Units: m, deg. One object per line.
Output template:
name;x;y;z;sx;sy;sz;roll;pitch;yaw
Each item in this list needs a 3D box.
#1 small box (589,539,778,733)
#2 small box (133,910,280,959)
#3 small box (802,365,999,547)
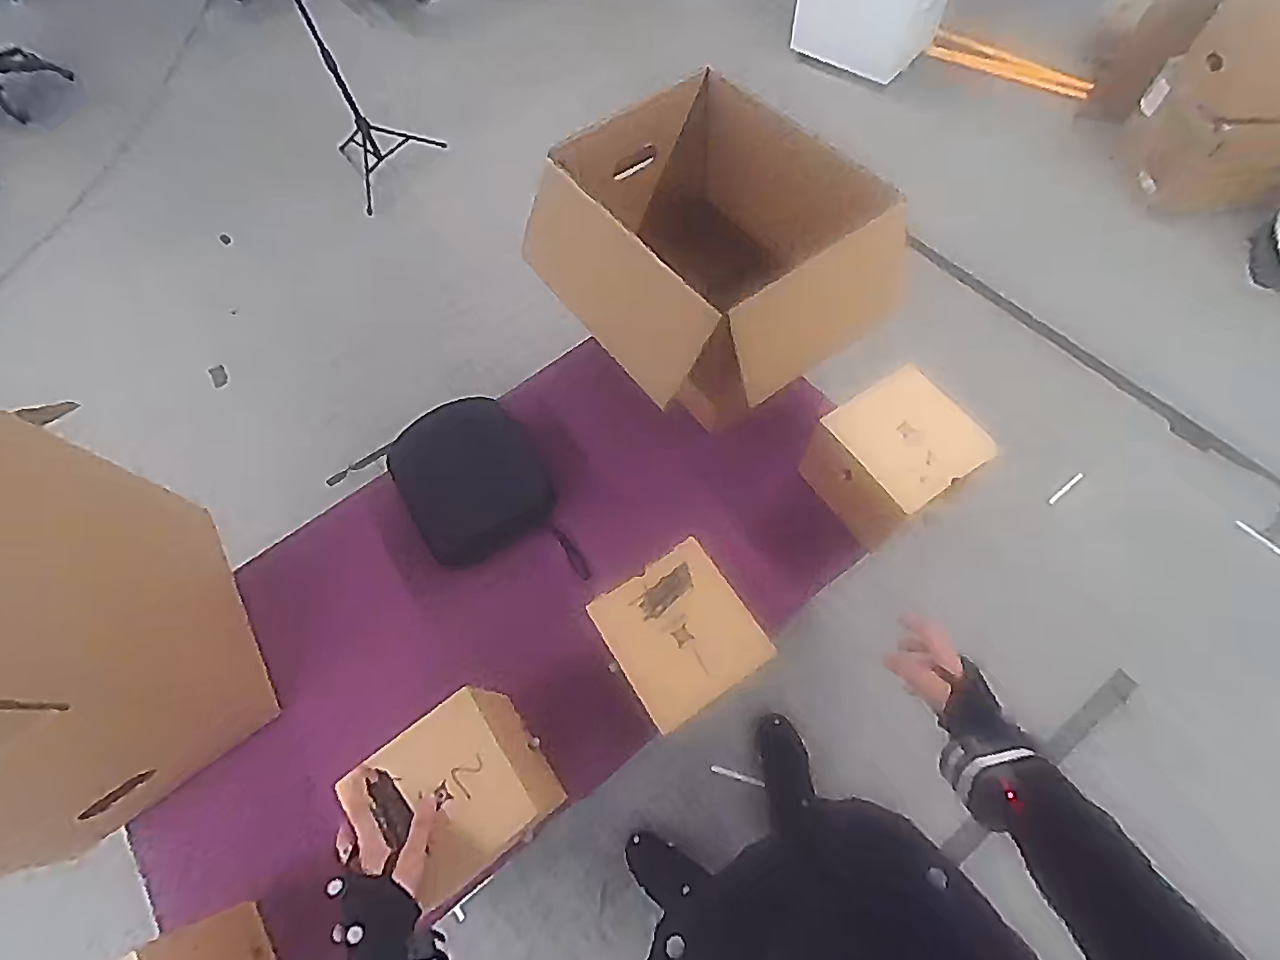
small box;0.054;0.212;0.719;0.168;0.176;0.179;-33;67;-9
small box;-0.518;0.625;0.582;0.179;0.176;0.168;-38;68;-13
small box;0.365;-0.028;0.800;0.168;0.176;0.179;-32;67;-8
